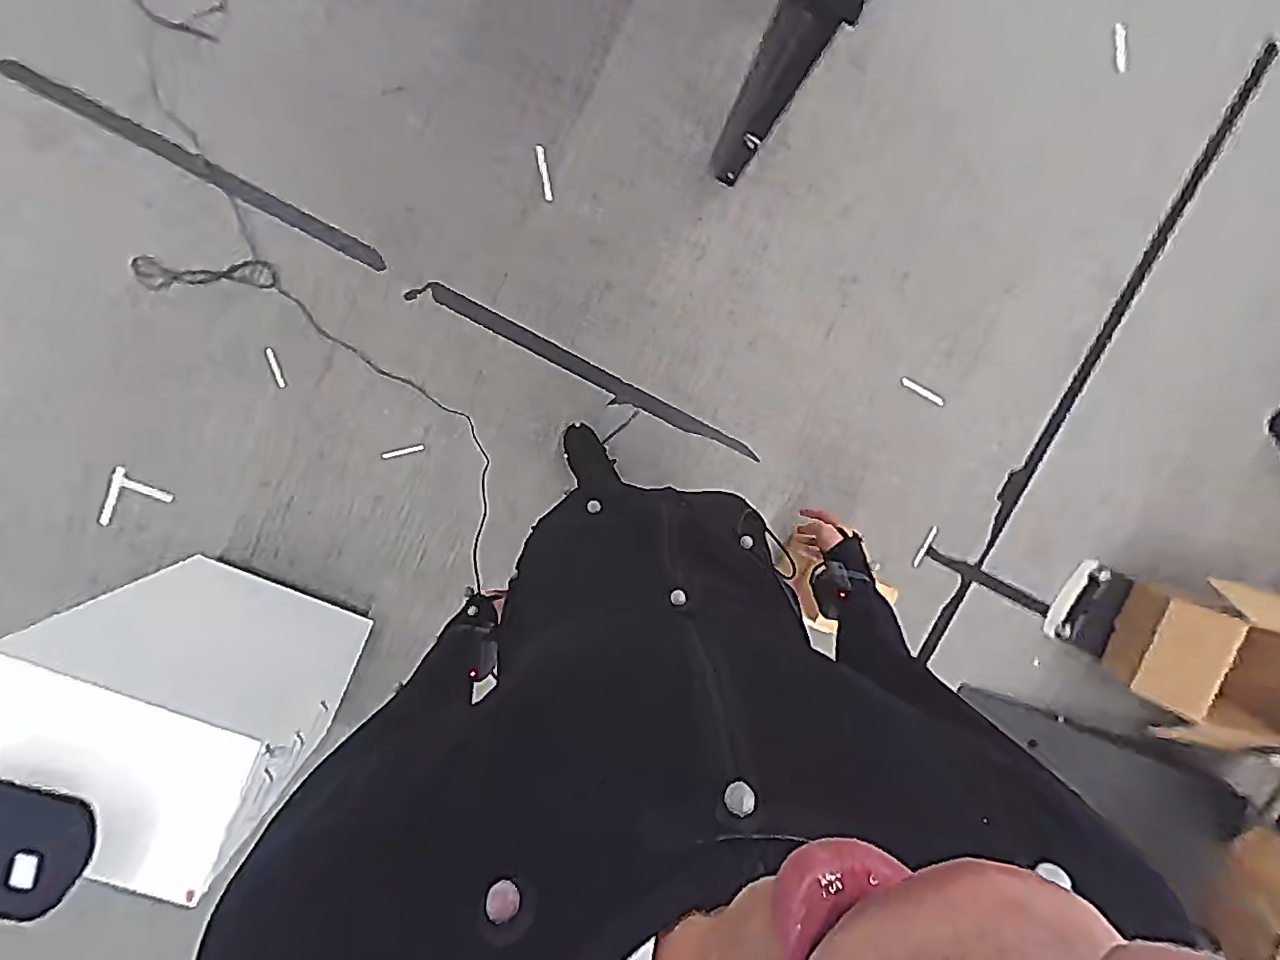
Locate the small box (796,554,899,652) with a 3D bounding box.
[{"bbox_3d":[0.550,0.324,1.462,0.168,0.176,0.179,26,98,-9],"label":"small box"}]
